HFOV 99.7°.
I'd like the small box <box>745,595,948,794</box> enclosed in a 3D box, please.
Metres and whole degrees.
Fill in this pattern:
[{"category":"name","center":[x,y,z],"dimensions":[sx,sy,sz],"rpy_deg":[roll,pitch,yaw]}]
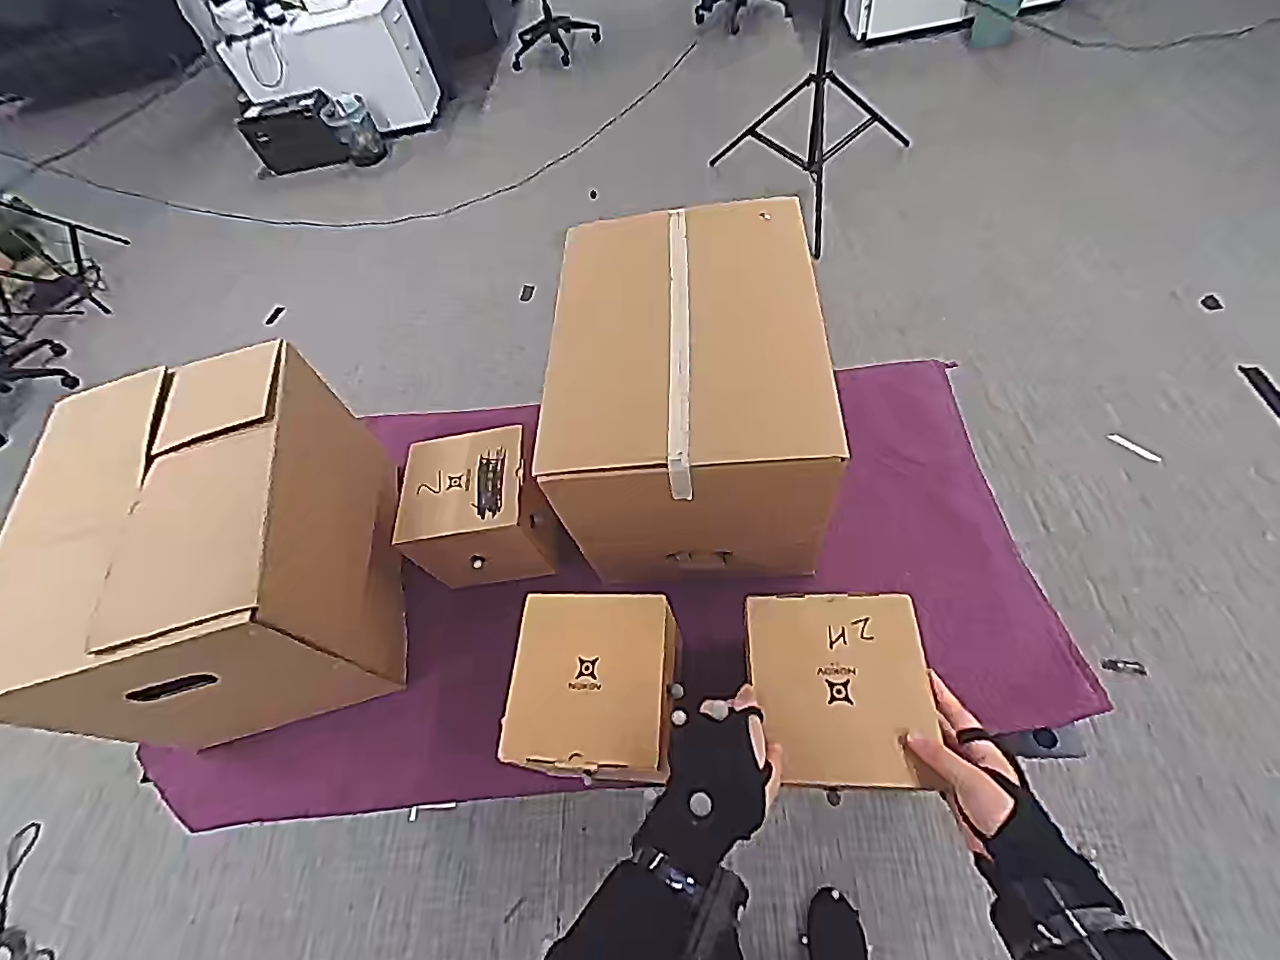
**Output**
[{"category":"small box","center":[0.201,0.234,0.582],"dimensions":[0.168,0.176,0.179],"rpy_deg":[-2,59,8]}]
